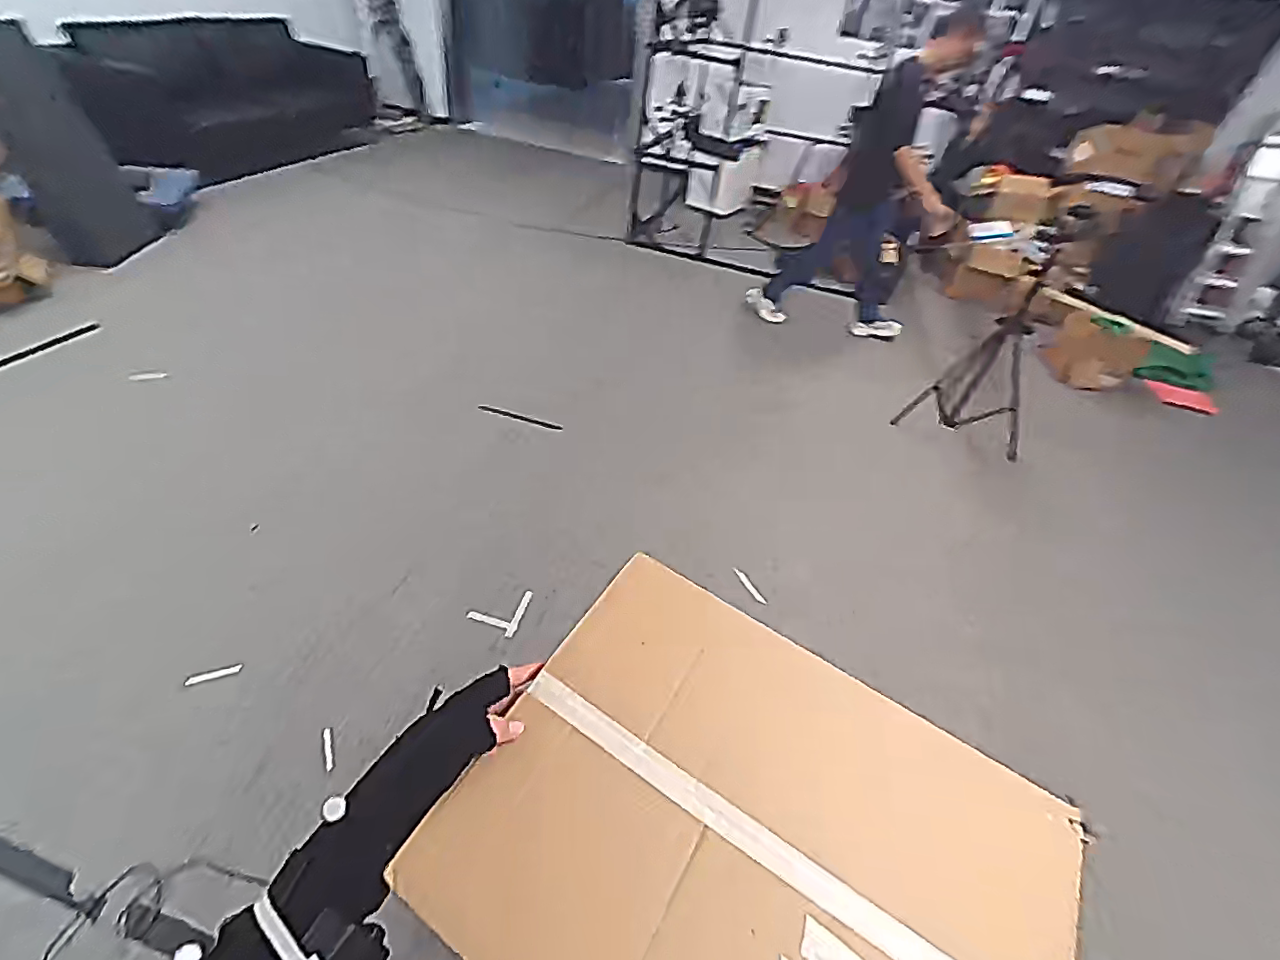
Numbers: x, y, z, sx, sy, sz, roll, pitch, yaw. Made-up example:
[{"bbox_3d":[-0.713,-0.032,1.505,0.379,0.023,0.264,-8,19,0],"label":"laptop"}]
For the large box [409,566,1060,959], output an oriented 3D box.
[{"bbox_3d":[0.072,0.360,0.508,0.408,0.320,0.320,29,53,18],"label":"large box"}]
